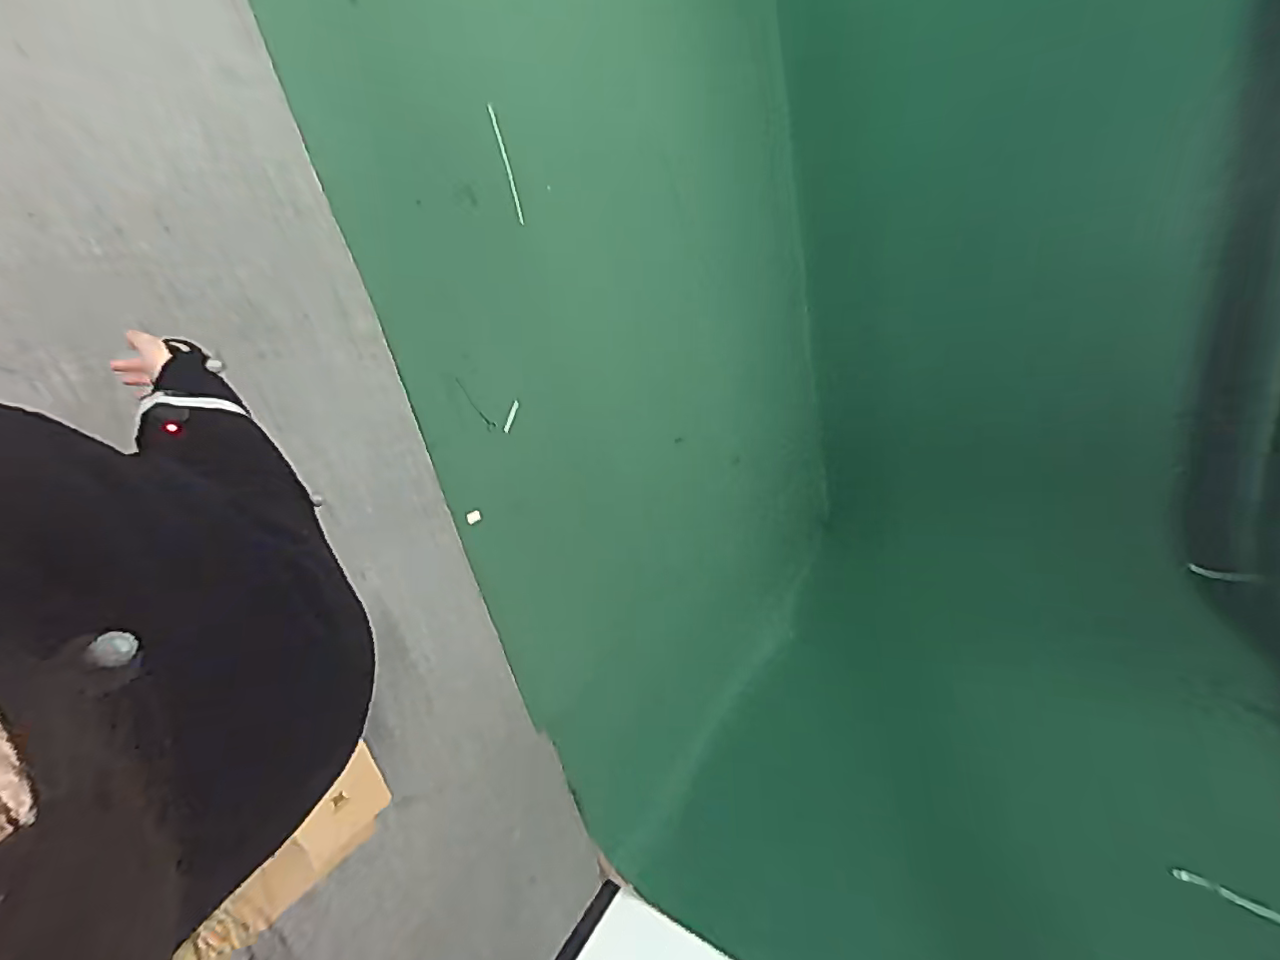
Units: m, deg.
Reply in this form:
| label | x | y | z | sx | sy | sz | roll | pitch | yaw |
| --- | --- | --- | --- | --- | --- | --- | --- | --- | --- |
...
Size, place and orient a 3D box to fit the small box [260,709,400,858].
| label | x | y | z | sx | sy | sz | roll | pitch | yaw |
| --- | --- | --- | --- | --- | --- | --- | --- | --- | --- |
| small box | -0.633 | 0.610 | 1.110 | 0.168 | 0.176 | 0.179 | -35 | 121 | -45 |
